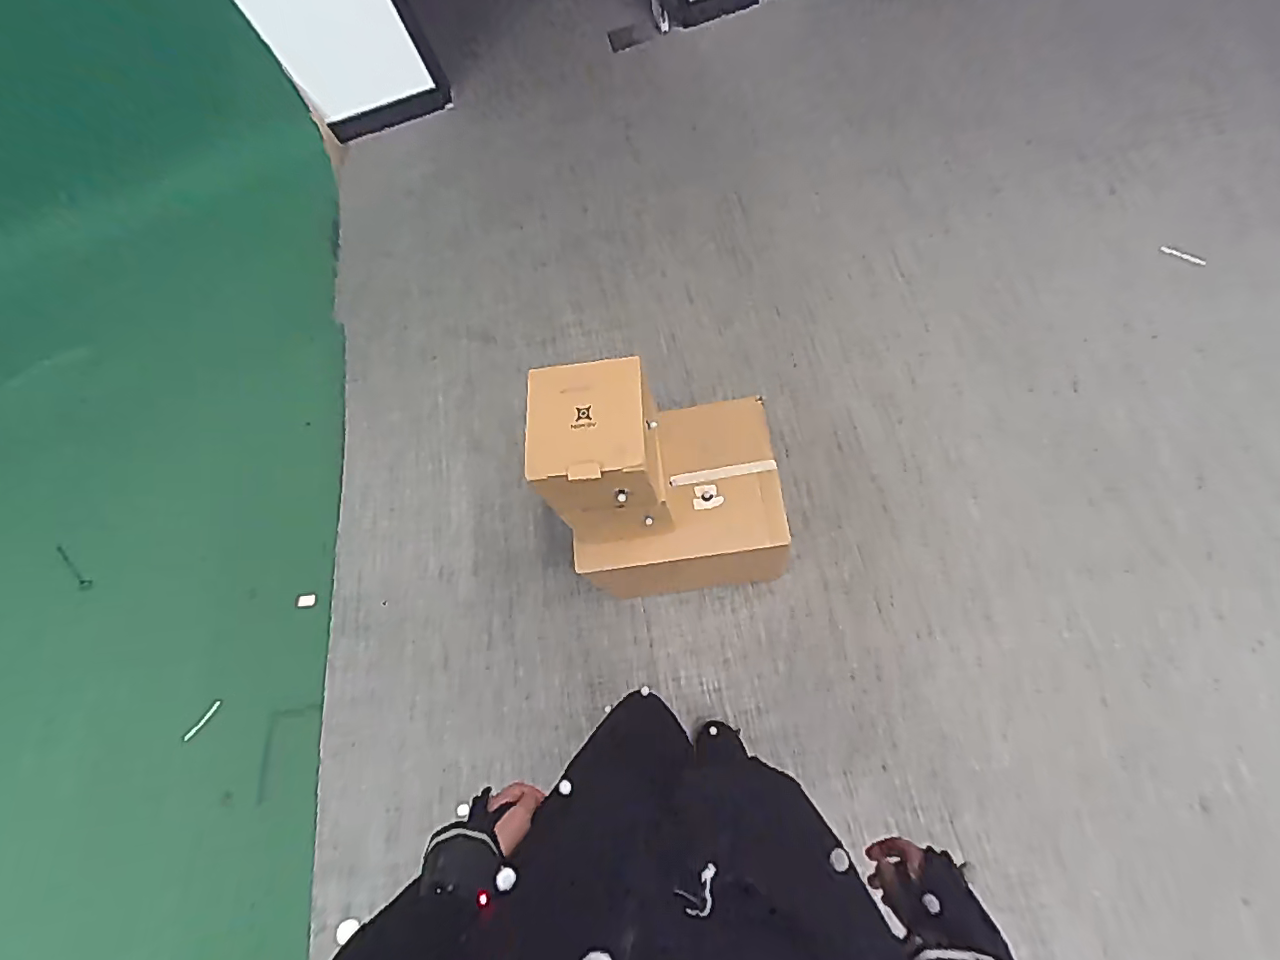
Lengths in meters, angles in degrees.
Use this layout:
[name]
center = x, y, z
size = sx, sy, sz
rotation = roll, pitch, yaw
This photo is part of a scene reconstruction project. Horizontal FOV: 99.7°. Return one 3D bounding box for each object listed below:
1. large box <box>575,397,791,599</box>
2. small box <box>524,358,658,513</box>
[large box]
center = 0.085, 0.059, 1.184
size = 0.408, 0.320, 0.320
rotation = -9, 68, 6
[small box]
center = -0.065, -0.055, 0.814
size = 0.168, 0.176, 0.179
rotation = -6, 67, 6
